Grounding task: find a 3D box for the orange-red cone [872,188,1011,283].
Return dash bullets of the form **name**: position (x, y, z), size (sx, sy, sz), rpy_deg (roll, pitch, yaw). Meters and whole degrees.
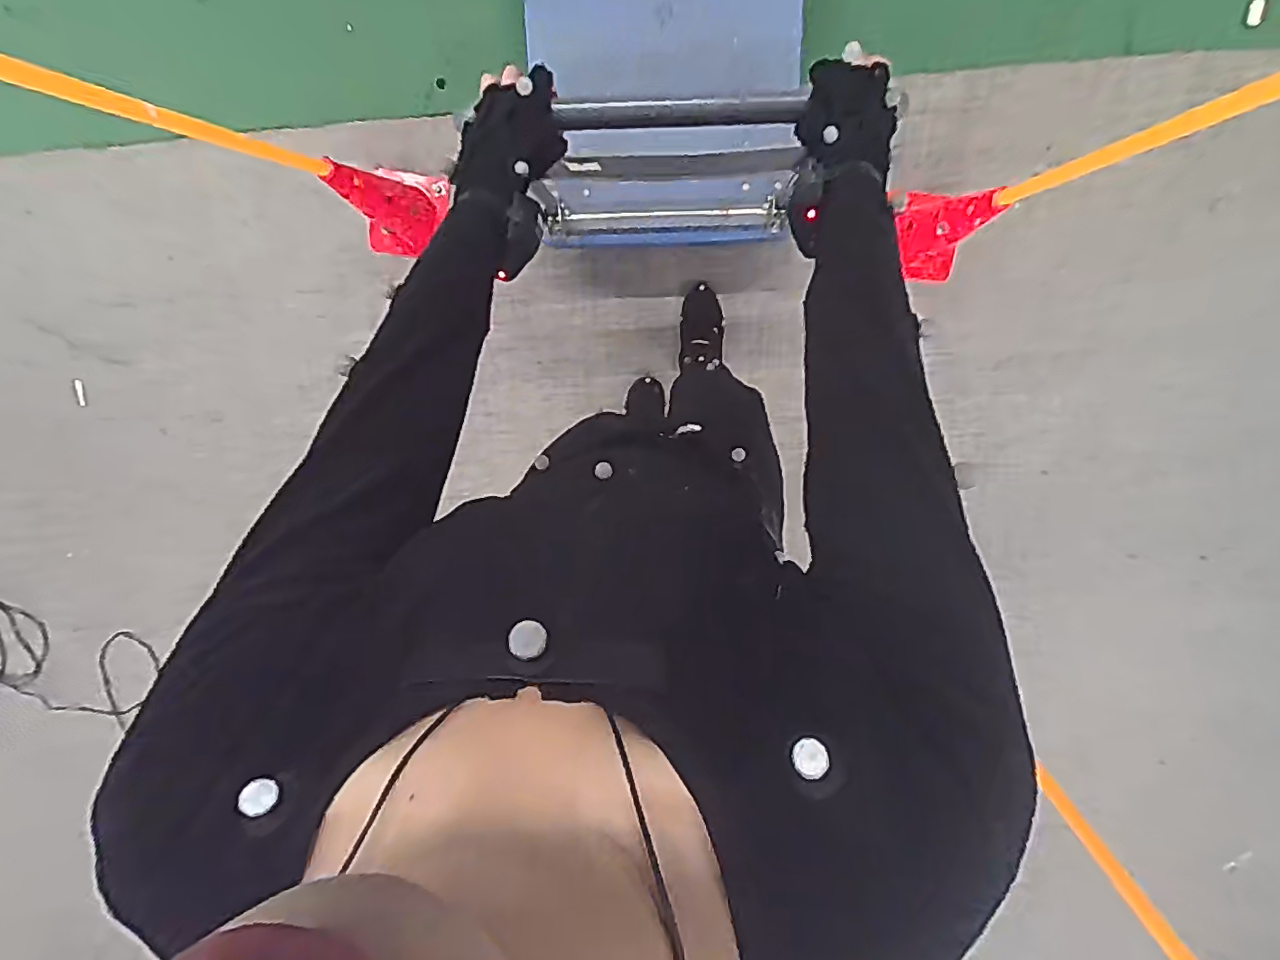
- **orange-red cone**: position (0.685, -0.563, 1.180), size (0.198, 0.360, 0.199), rpy_deg (8, 104, 1)
